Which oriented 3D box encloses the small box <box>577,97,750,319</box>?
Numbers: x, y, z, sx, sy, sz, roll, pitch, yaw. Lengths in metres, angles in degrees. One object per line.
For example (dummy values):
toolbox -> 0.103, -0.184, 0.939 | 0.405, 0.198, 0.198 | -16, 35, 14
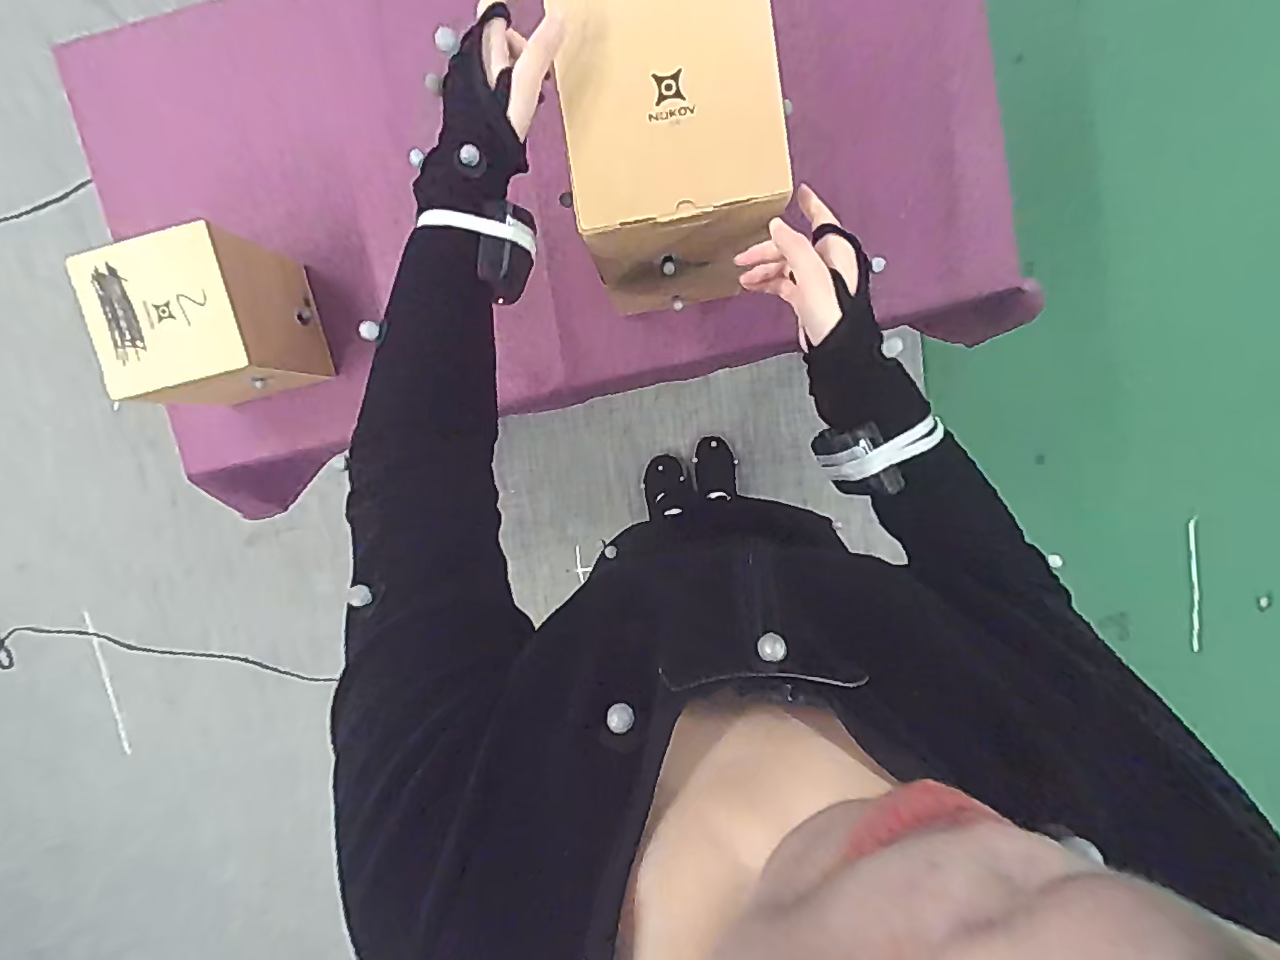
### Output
small box -> 0.029, -0.306, 0.647 | 0.168, 0.176, 0.179 | -9, 96, 4
